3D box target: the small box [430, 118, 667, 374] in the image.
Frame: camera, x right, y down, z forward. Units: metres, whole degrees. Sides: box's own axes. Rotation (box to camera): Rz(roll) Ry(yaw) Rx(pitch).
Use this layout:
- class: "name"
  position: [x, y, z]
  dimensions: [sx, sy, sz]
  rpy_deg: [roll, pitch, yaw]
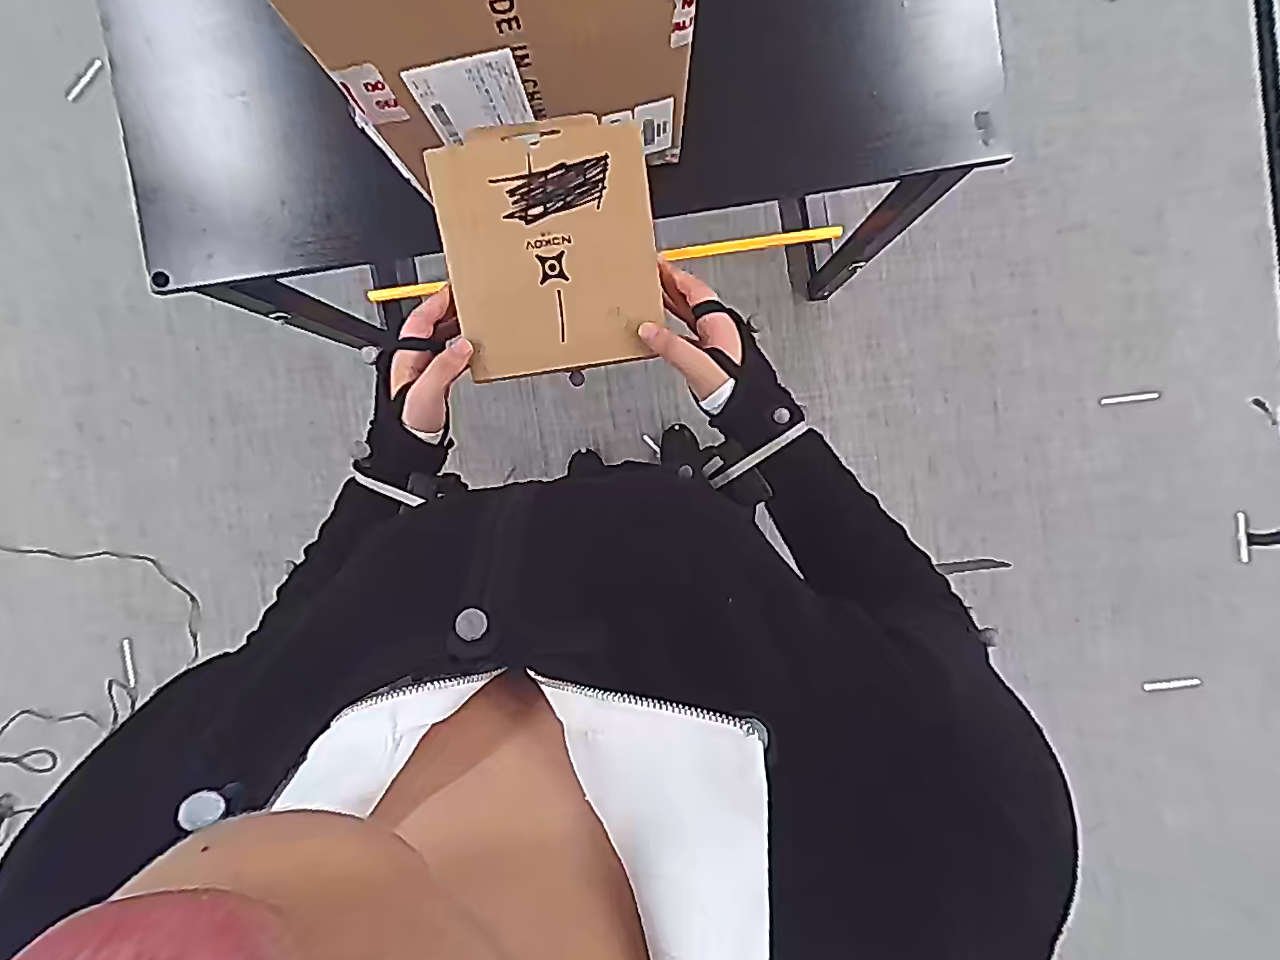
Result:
- class: "small box"
  position: [-0.072, -0.196, 0.505]
  dimensions: [0.168, 0.176, 0.179]
  rpy_deg: [-8, 102, 0]
